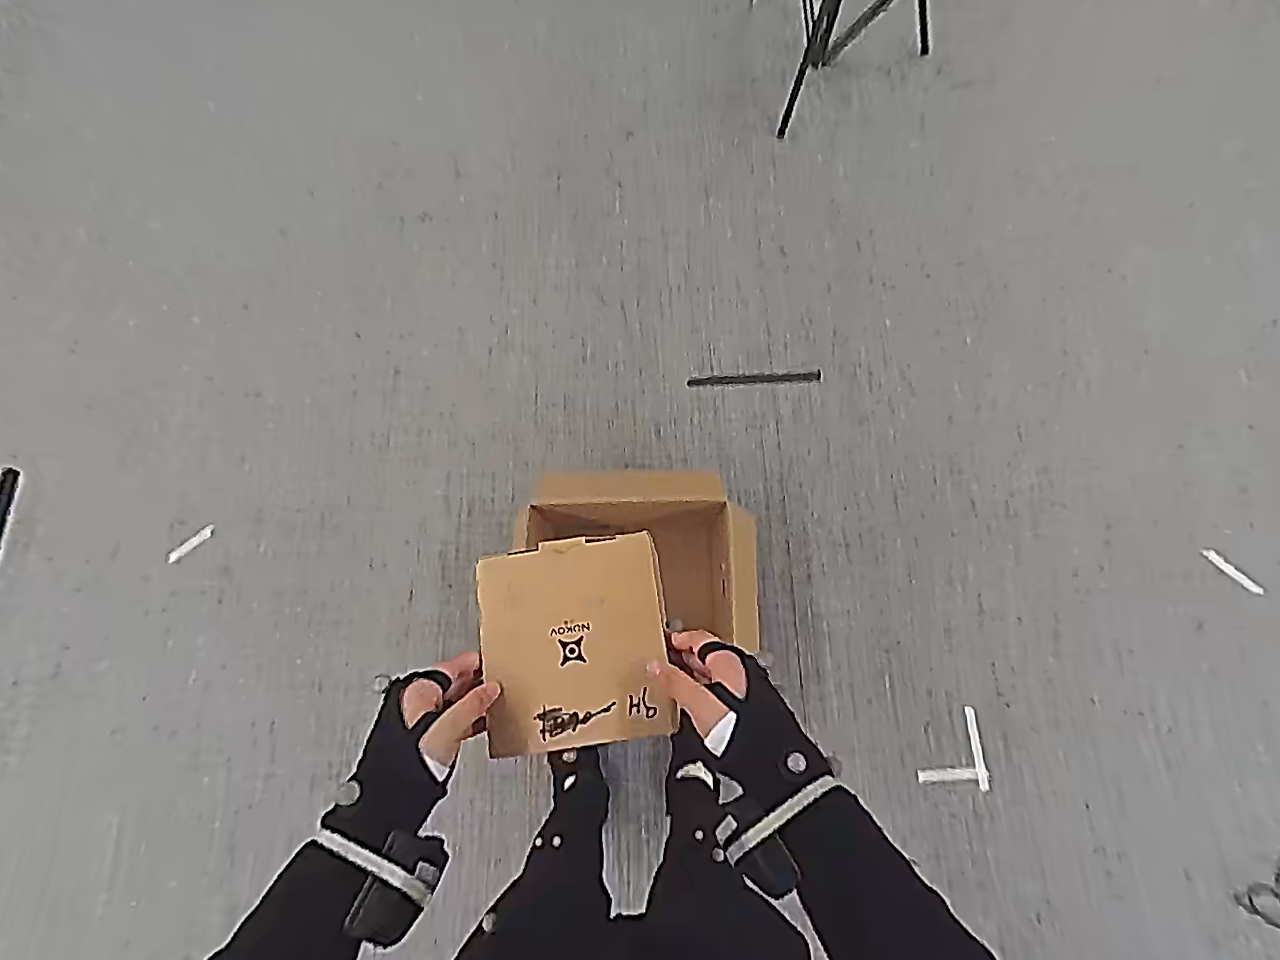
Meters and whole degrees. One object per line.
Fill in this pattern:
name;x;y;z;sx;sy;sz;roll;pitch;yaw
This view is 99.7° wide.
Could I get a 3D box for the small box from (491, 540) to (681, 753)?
small box;-0.050;0.171;0.578;0.168;0.176;0.179;-9;76;2
